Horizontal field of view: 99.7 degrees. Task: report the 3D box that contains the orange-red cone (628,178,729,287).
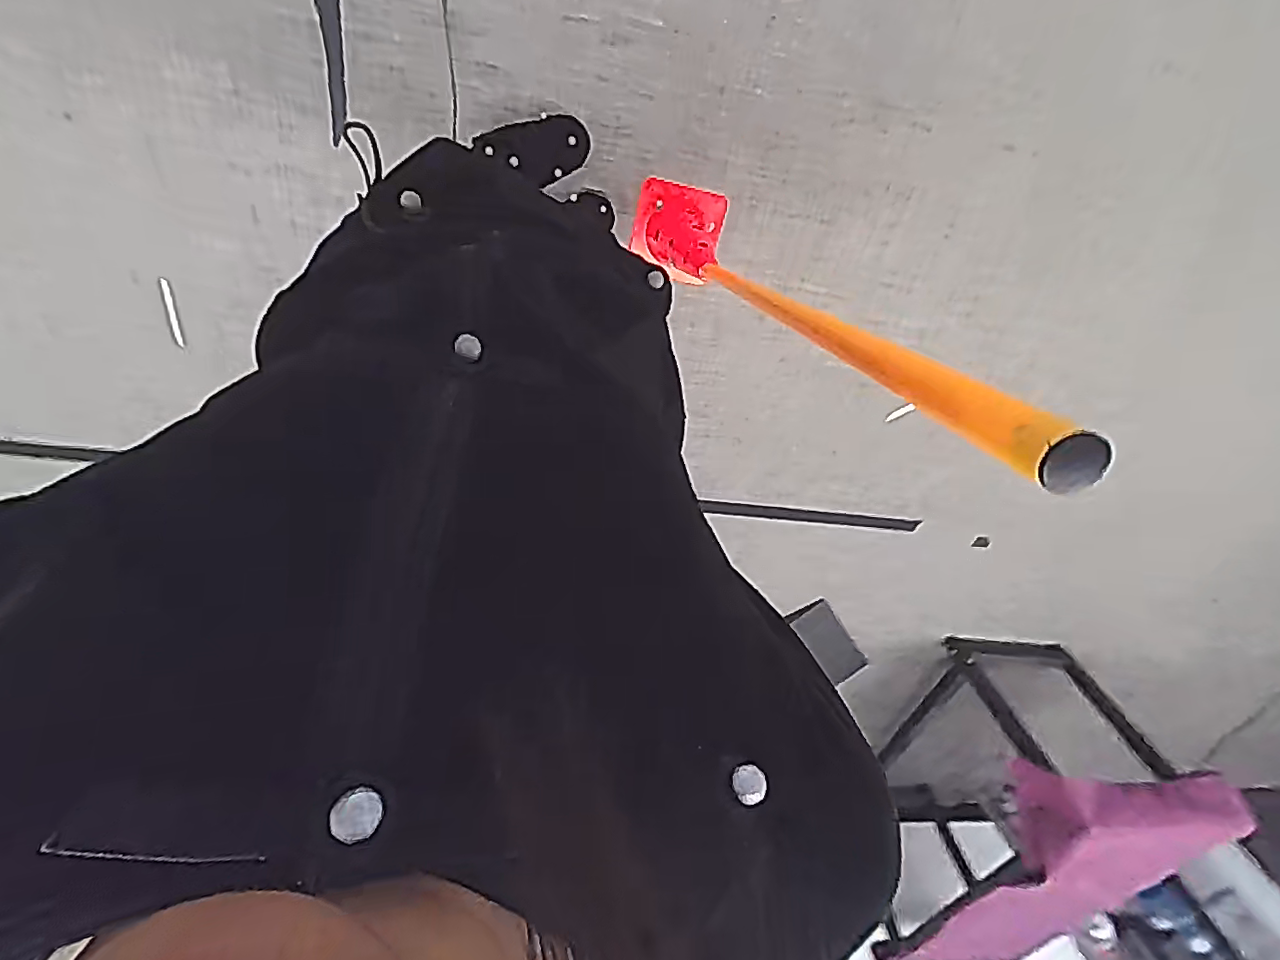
[{"bbox_3d":[0.101,-0.459,1.085,0.198,0.360,0.199,10,123,-13],"label":"orange-red cone"}]
